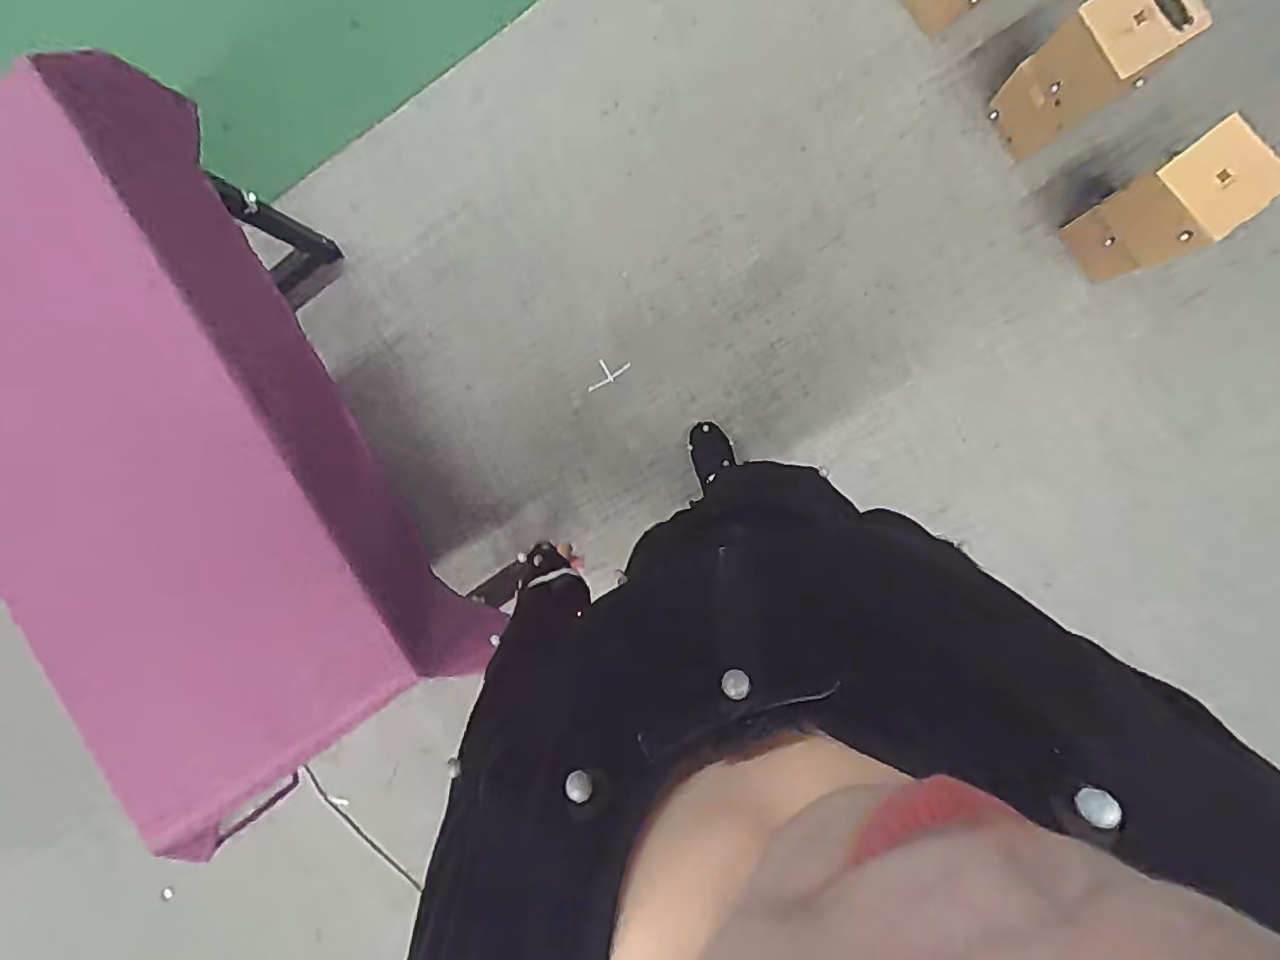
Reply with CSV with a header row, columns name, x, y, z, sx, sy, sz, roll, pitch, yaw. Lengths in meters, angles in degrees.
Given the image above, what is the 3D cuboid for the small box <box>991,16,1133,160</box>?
name,x,y,z,sx,sy,sz,roll,pitch,yaw
small box,0.957,-0.893,1.252,0.179,0.176,0.168,-31,88,8

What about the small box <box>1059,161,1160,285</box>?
name,x,y,z,sx,sy,sz,roll,pitch,yaw
small box,1.127,-0.582,1.243,0.168,0.176,0.179,-33,88,9

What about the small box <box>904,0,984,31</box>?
name,x,y,z,sx,sy,sz,roll,pitch,yaw
small box,0.739,-1.214,1.268,0.168,0.176,0.179,-32,88,8

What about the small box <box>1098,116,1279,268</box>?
name,x,y,z,sx,sy,sz,roll,pitch,yaw
small box,1.091,-0.563,1.085,0.168,0.176,0.179,-39,88,9
